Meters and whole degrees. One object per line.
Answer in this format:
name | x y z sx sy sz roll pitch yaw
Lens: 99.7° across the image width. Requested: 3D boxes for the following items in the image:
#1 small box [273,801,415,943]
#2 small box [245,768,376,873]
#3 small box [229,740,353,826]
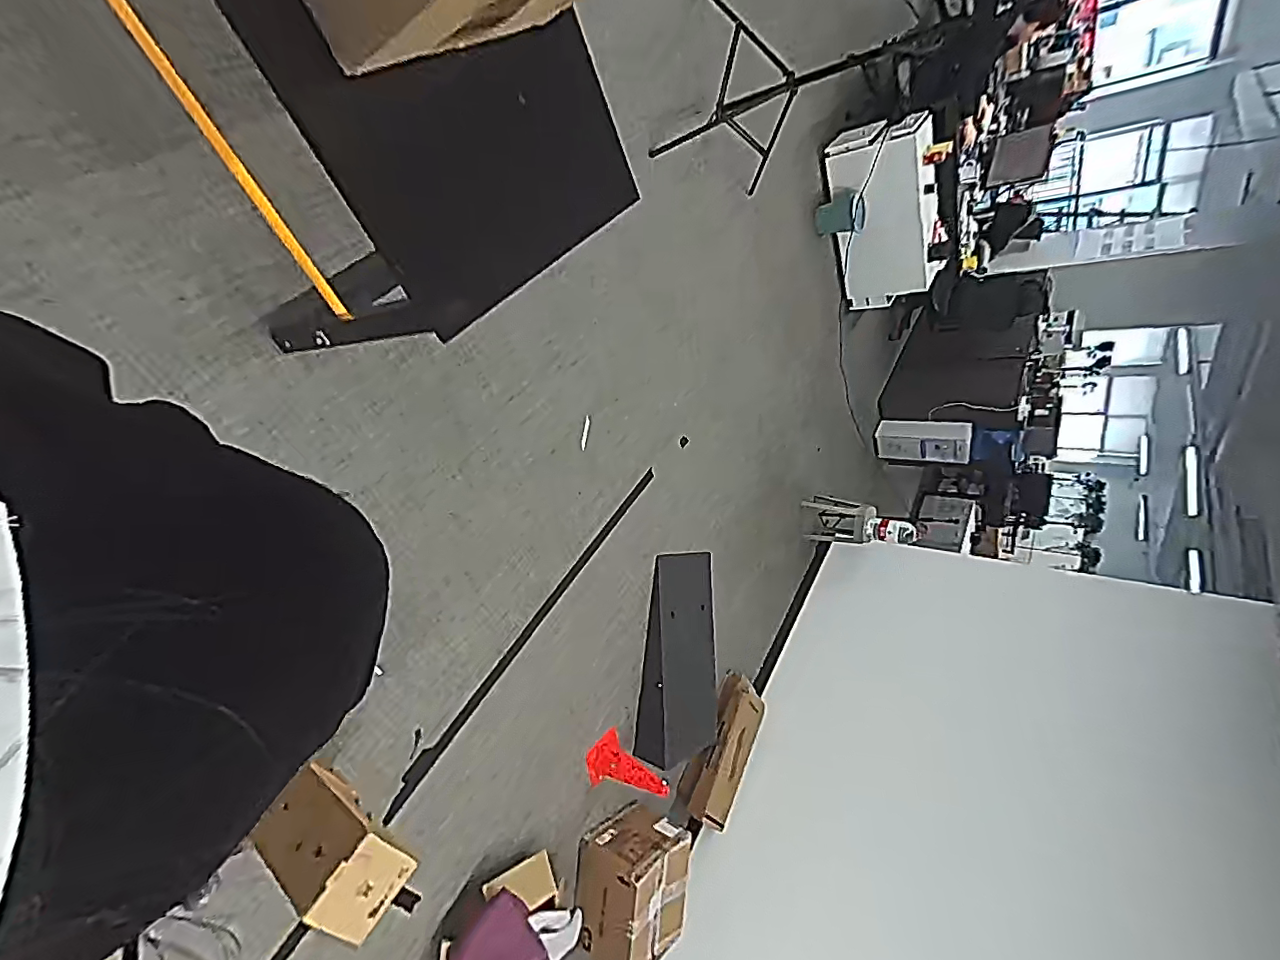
small box | -0.628 0.819 1.148 0.168 0.176 0.179 -51 132 -34
small box | -0.756 0.805 1.250 0.168 0.176 0.179 -52 132 -34
small box | -0.878 0.789 1.361 0.168 0.176 0.179 -52 131 -34
